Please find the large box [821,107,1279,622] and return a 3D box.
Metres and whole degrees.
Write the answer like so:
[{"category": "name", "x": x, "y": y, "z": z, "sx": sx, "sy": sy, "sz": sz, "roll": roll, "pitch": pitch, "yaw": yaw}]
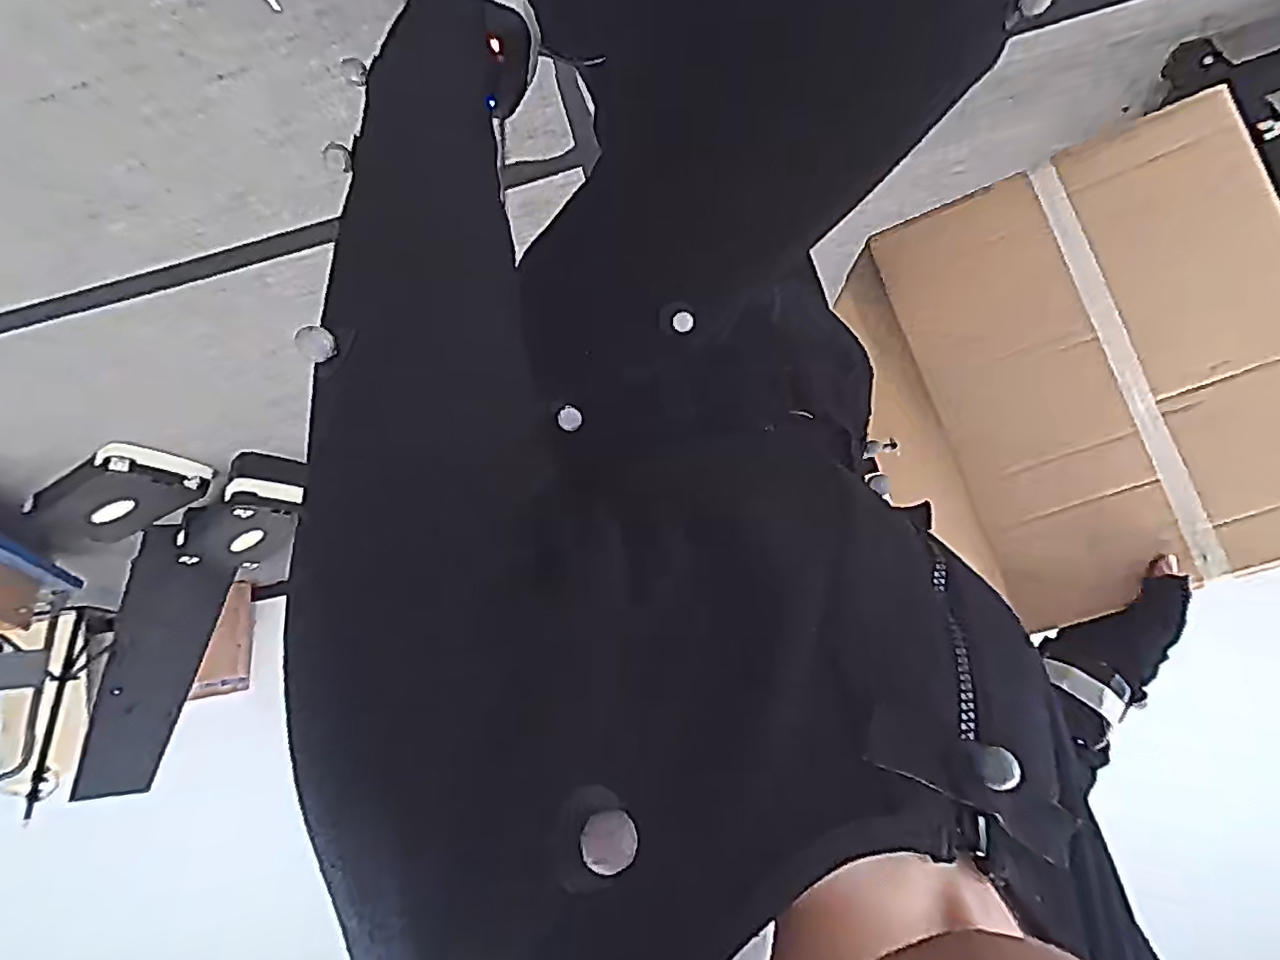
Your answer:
[{"category": "large box", "x": 0.452, "y": -0.102, "z": 0.642, "sx": 0.320, "sy": 0.408, "sz": 0.320, "roll": -20, "pitch": 177, "yaw": 11}]
